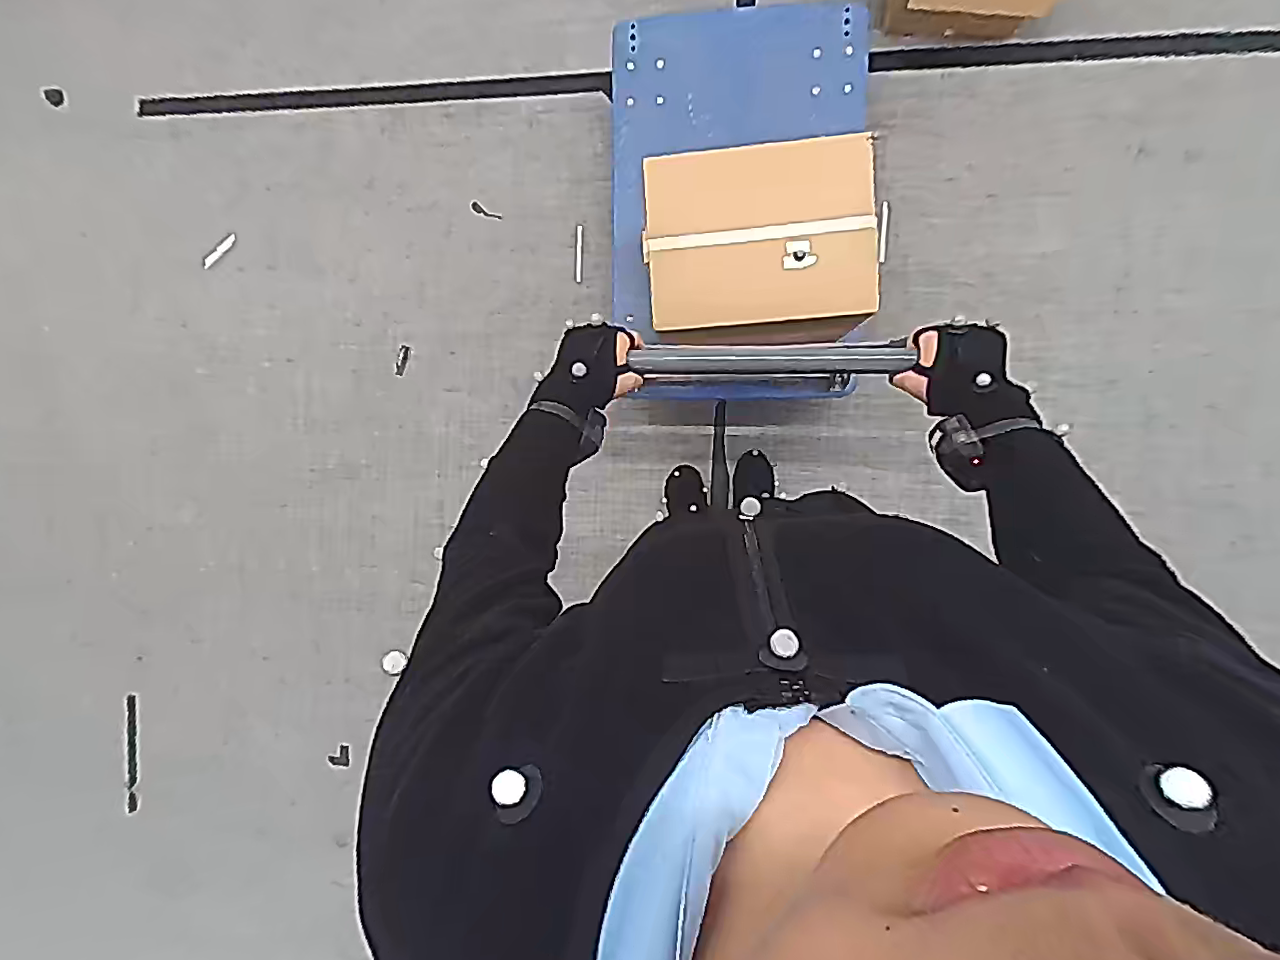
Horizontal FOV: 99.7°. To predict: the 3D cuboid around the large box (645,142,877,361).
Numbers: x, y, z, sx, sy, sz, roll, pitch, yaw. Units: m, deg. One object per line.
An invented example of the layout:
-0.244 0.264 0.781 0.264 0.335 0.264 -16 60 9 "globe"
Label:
0.229 -0.442 1.130 0.408 0.320 0.320 -4 94 5 "large box"
